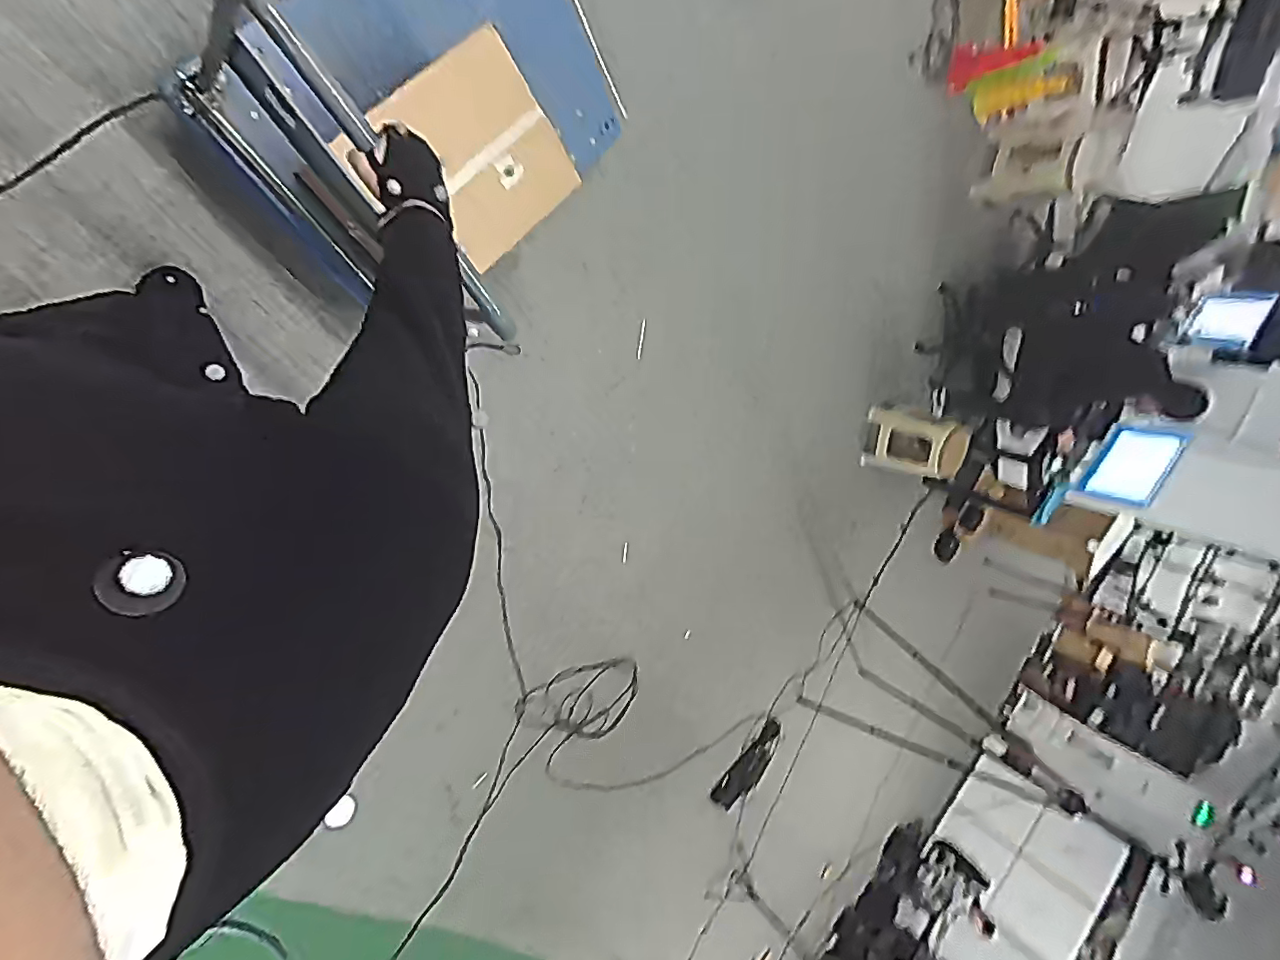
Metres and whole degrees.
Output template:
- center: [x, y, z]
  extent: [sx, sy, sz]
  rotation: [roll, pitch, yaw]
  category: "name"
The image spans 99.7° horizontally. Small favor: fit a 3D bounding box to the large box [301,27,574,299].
- center: [-0.431, -0.645, 1.162]
  extent: [0.408, 0.320, 0.320]
  rotation: [-49, 132, -14]
  category: "large box"
